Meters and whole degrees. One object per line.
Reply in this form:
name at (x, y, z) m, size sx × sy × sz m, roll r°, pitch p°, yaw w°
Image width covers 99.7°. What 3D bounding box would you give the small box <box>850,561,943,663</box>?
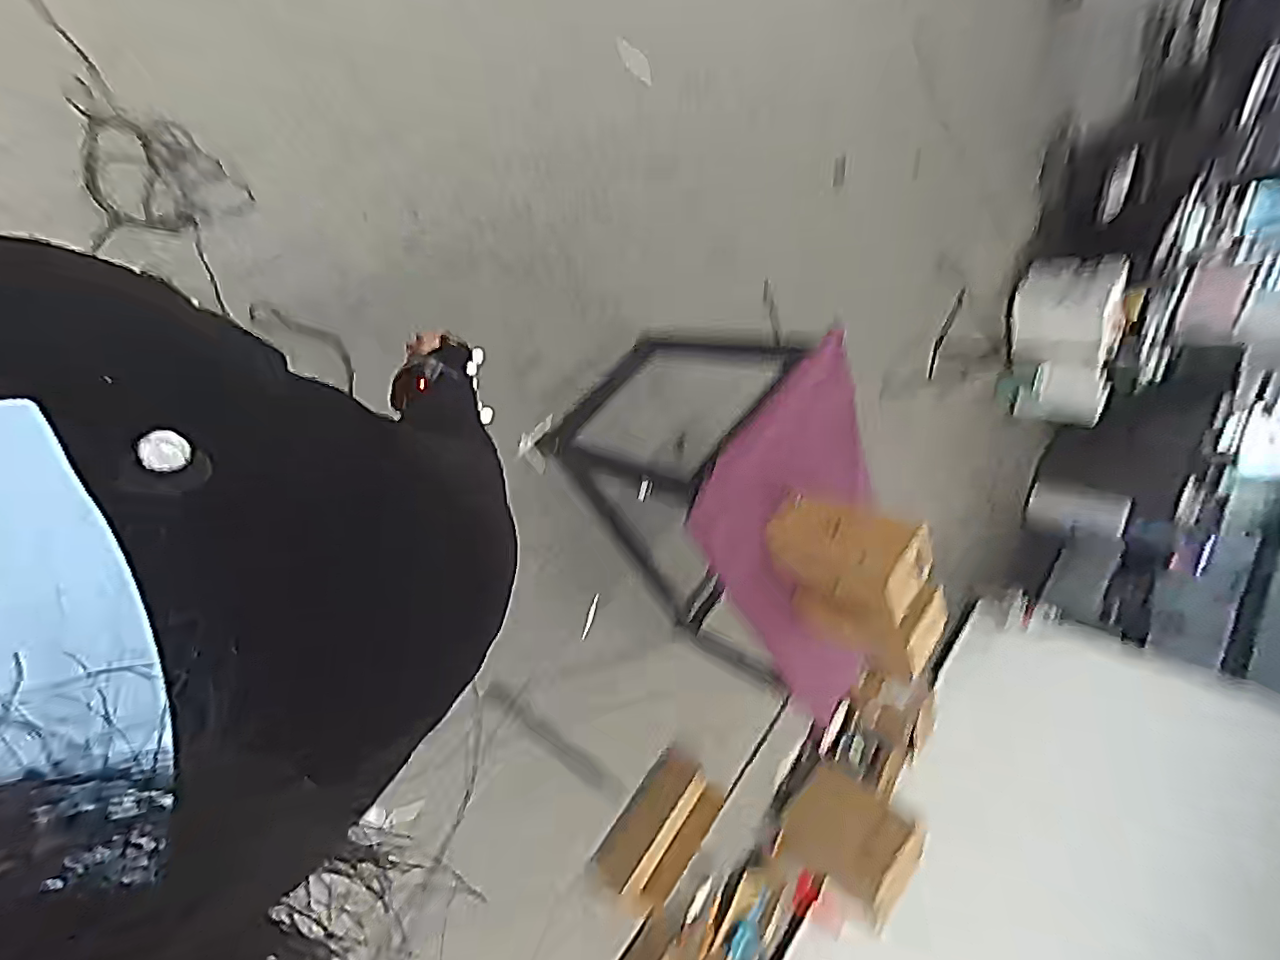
small box at (0.685, 0.350, 1.460) m, size 0.179 × 0.176 × 0.168 m, roll -47°, pitch 129°, yaw -21°
